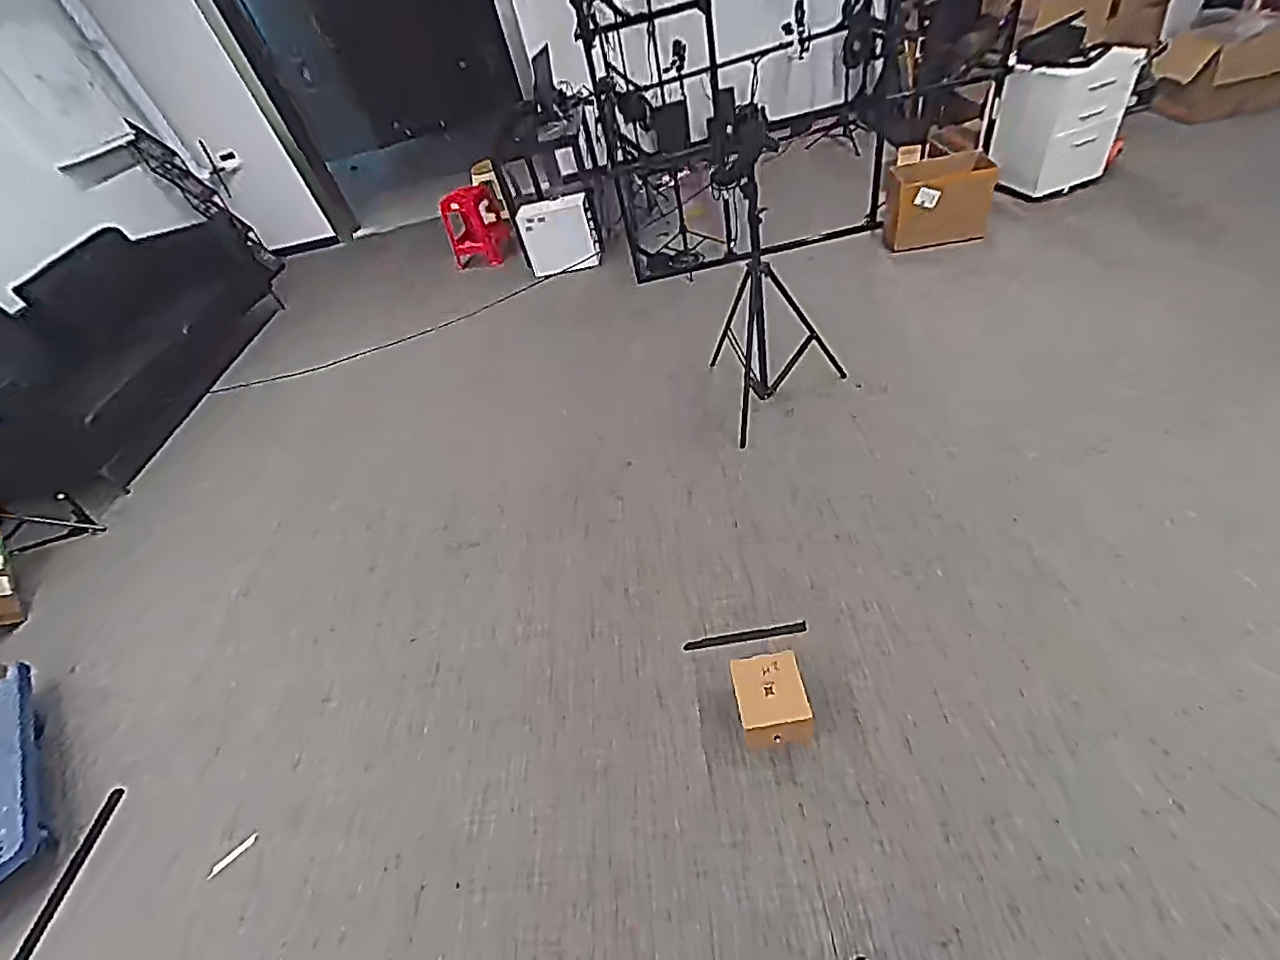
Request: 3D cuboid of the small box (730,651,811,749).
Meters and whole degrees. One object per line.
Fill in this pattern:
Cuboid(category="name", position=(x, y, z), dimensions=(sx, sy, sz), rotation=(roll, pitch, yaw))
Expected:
Cuboid(category="small box", position=(0.332, 0.564, 1.373), dimensions=(0.168, 0.176, 0.179), rotation=(-12, 44, 5))
